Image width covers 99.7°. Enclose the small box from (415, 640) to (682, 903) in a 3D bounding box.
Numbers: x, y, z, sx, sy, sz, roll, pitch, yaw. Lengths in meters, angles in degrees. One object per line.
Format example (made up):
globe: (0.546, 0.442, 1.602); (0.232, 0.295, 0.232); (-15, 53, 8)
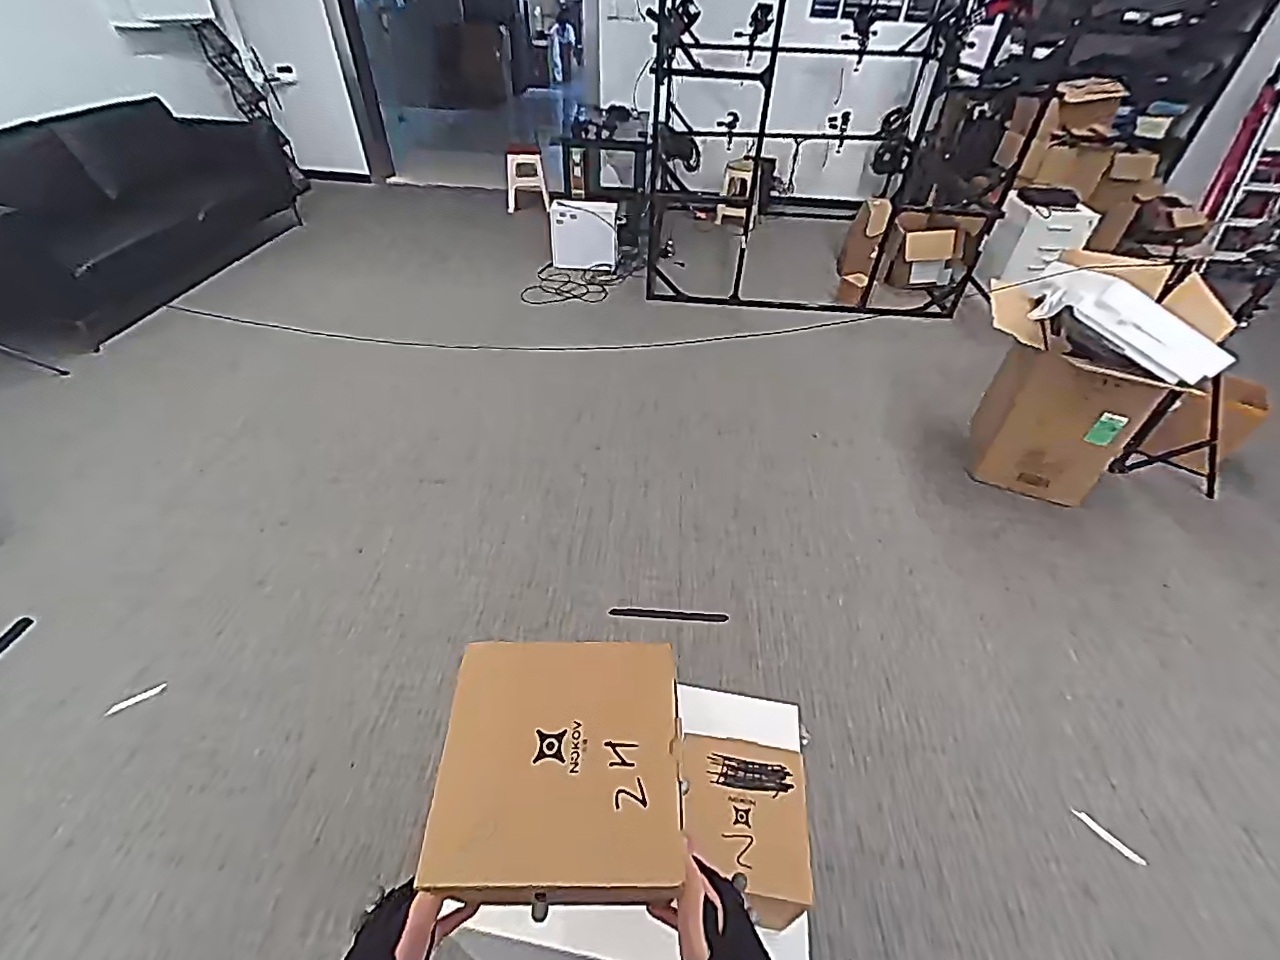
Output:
small box: (-0.058, 0.249, 0.457); (0.179, 0.176, 0.168); (1, 49, 0)
